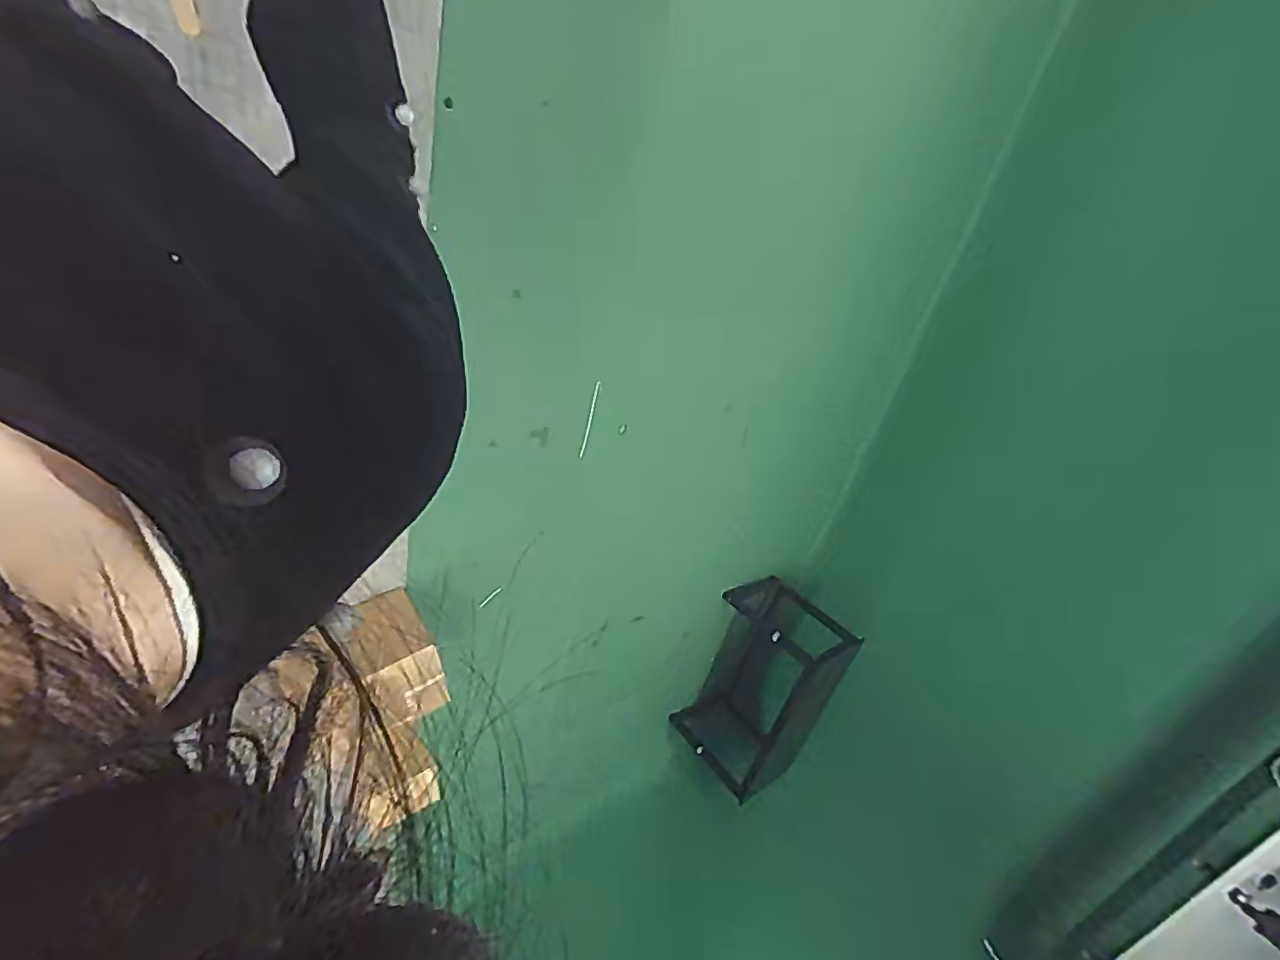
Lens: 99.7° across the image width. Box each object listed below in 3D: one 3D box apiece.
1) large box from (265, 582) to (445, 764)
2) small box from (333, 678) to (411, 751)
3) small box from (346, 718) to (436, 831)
[{"bbox_3d":[-0.908,0.607,1.752,0.408,0.320,0.320,-24,135,-34],"label":"large box"},{"bbox_3d":[-0.772,0.707,1.569,0.168,0.176,0.179,-17,129,-36],"label":"small box"},{"bbox_3d":[-0.674,0.790,1.470,0.179,0.176,0.168,-16,129,-36],"label":"small box"}]
